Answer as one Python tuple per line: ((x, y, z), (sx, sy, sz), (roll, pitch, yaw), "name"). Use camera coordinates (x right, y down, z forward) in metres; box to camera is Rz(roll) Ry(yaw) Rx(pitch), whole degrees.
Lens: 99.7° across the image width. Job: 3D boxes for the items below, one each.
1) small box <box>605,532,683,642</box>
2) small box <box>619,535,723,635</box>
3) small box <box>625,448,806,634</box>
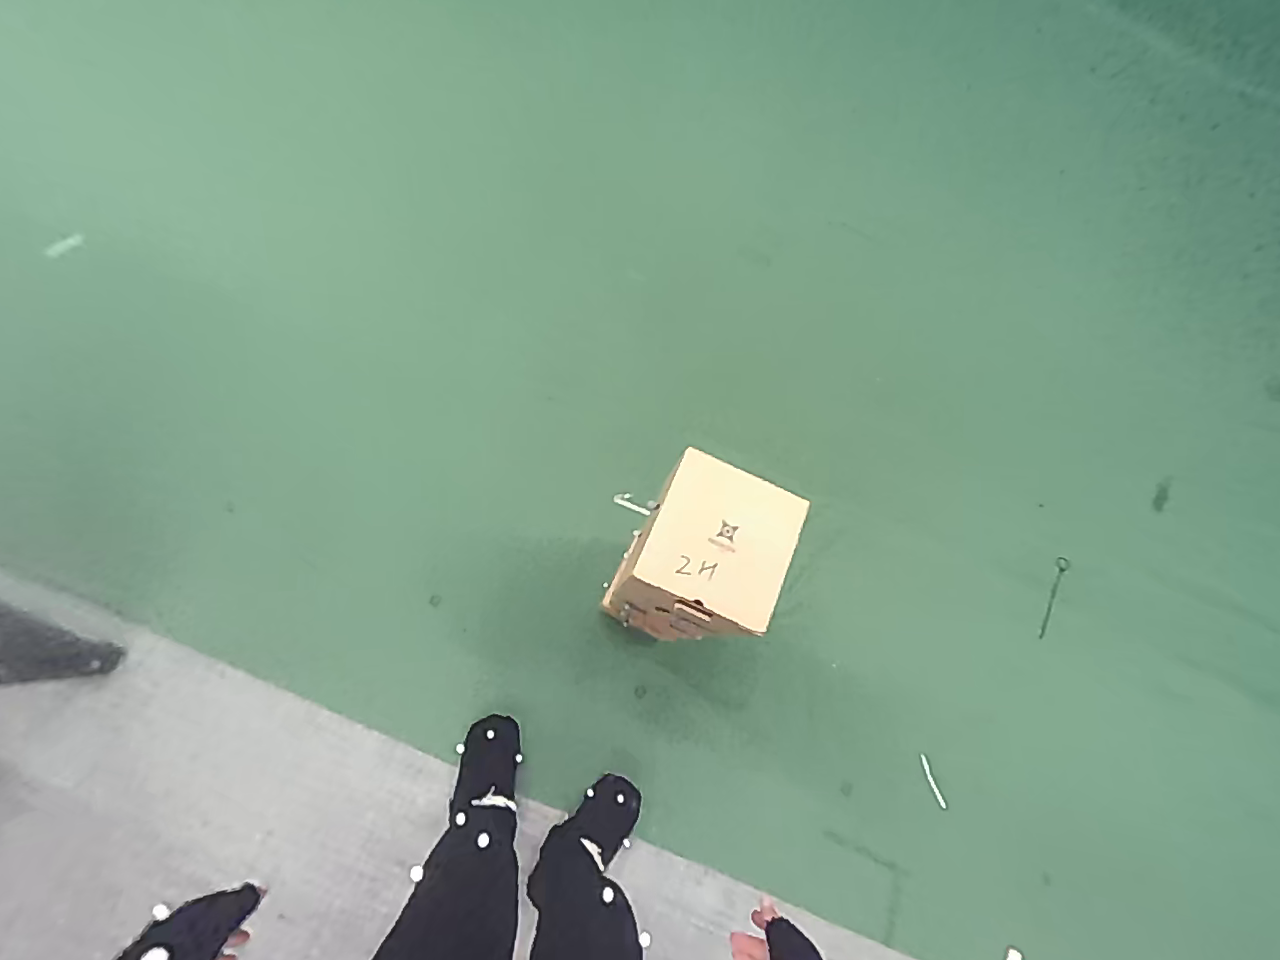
((0.030, 0.236, 1.184), (0.168, 0.176, 0.179), (26, 74, 1), "small box")
((0.073, 0.136, 0.873), (0.168, 0.176, 0.179), (26, 72, 0), "small box")
((0.089, 0.089, 0.716), (0.168, 0.176, 0.179), (25, 73, 1), "small box")
